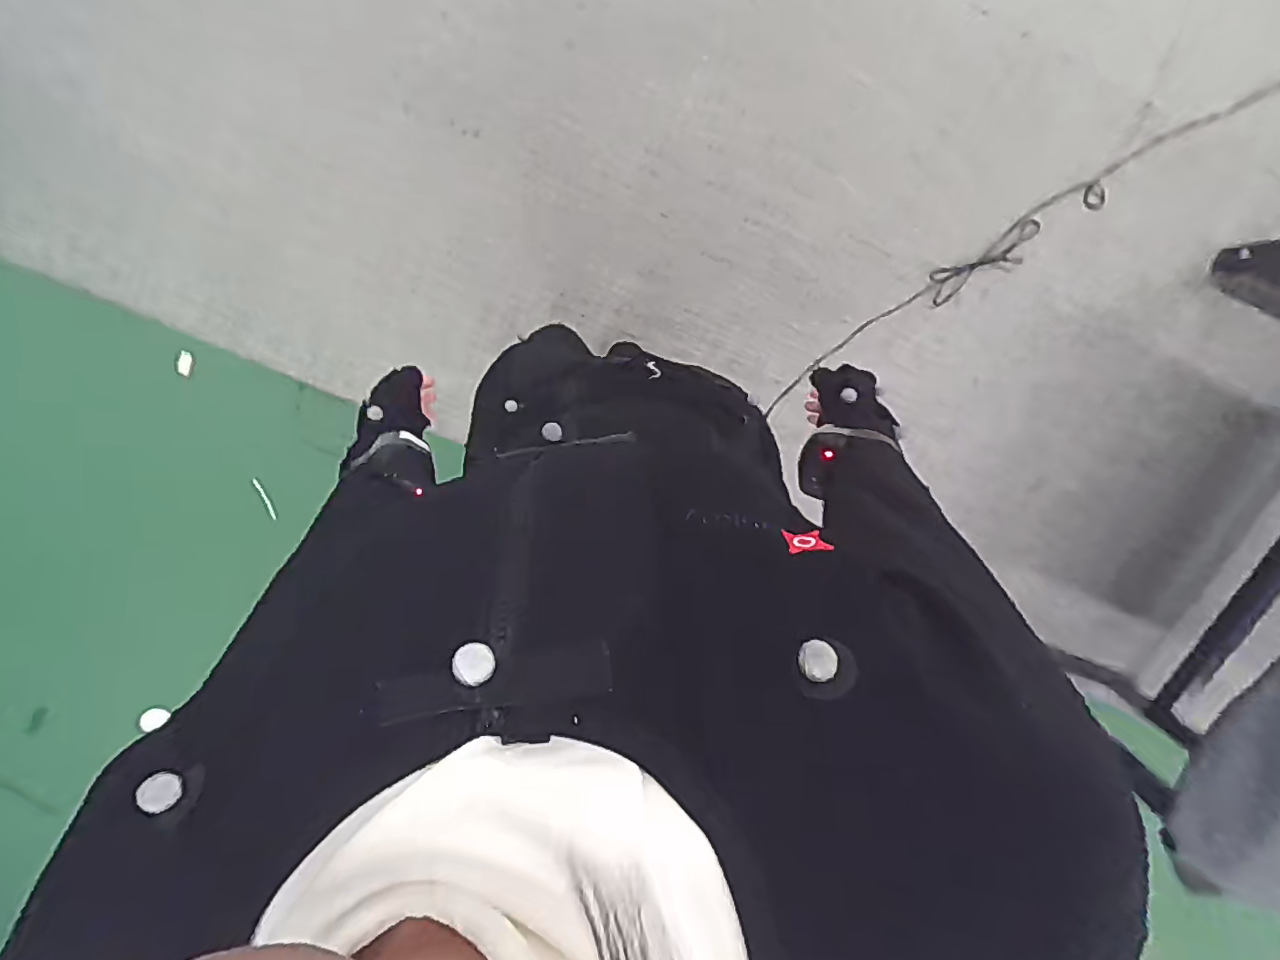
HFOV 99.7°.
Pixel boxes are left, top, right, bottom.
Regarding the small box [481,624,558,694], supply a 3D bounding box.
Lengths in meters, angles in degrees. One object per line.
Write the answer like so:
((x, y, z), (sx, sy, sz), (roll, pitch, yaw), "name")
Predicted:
((-0.309, 0.490, 1.335), (0.168, 0.176, 0.179), (22, 106, -9), "small box")
